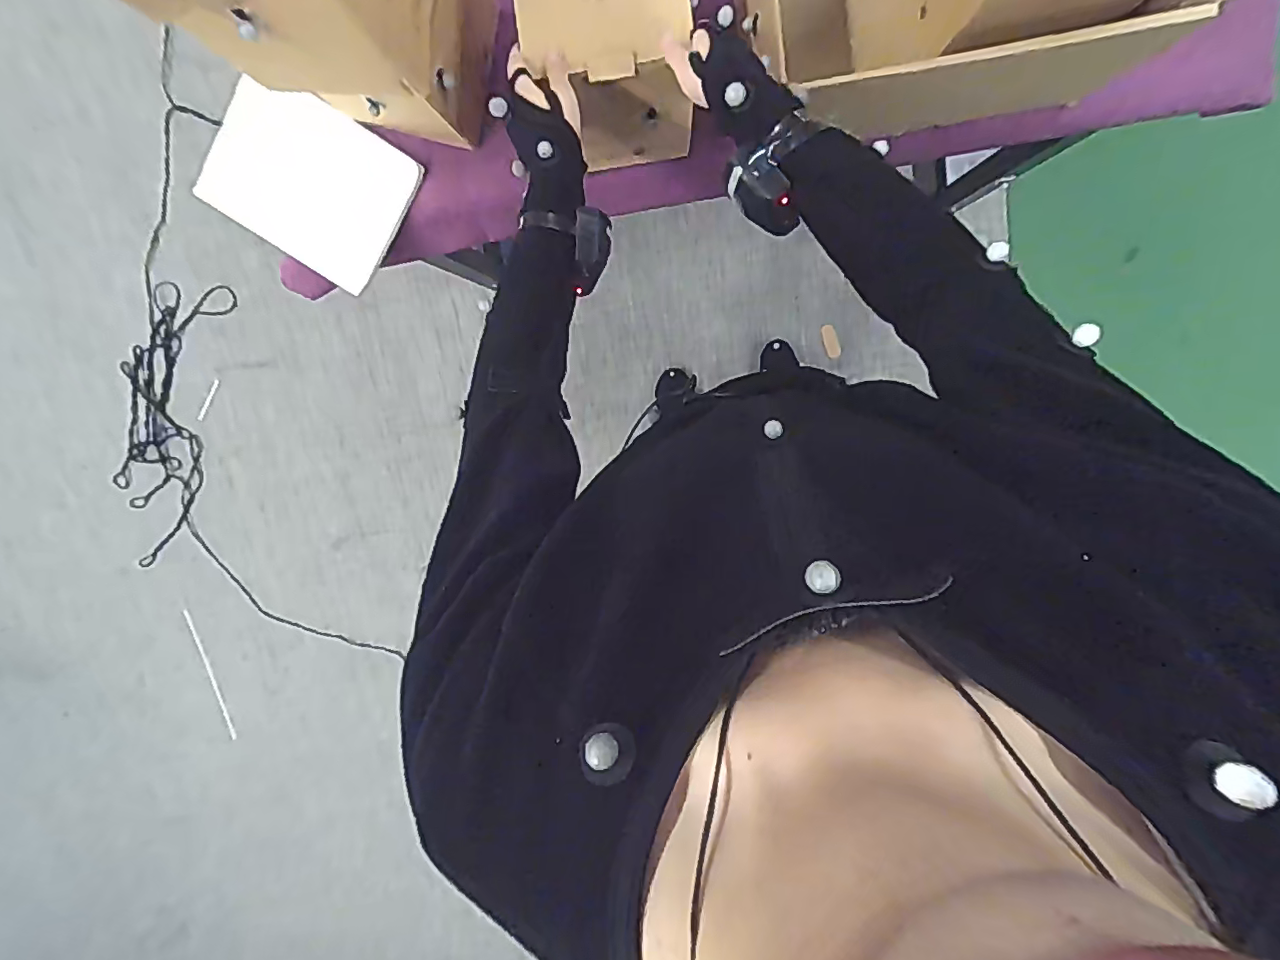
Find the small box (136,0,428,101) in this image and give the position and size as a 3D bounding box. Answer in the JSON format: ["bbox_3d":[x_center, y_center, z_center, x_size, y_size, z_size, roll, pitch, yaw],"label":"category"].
[{"bbox_3d":[-0.296,-0.457,0.465,0.179,0.176,0.168,5,101,4],"label":"small box"}]
